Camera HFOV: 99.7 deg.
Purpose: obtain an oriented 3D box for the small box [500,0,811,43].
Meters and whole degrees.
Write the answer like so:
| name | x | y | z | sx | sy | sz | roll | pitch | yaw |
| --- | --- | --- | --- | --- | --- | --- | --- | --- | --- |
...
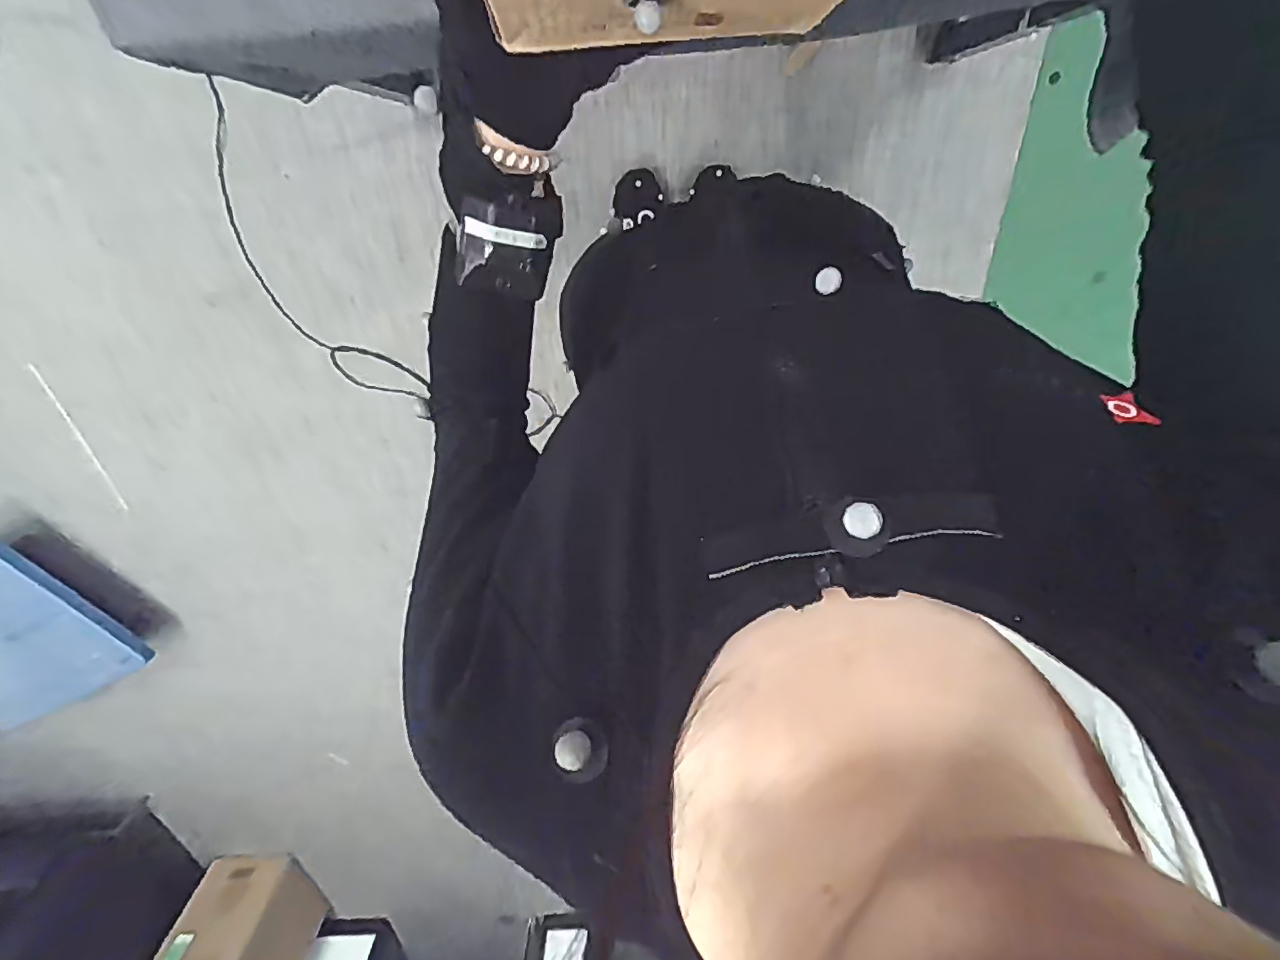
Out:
| name | x | y | z | sx | sy | sz | roll | pitch | yaw |
| --- | --- | --- | --- | --- | --- | --- | --- | --- | --- |
| small box | 0.010 | -0.277 | 0.170 | 0.168 | 0.176 | 0.179 | -8 | 116 | -2 |
